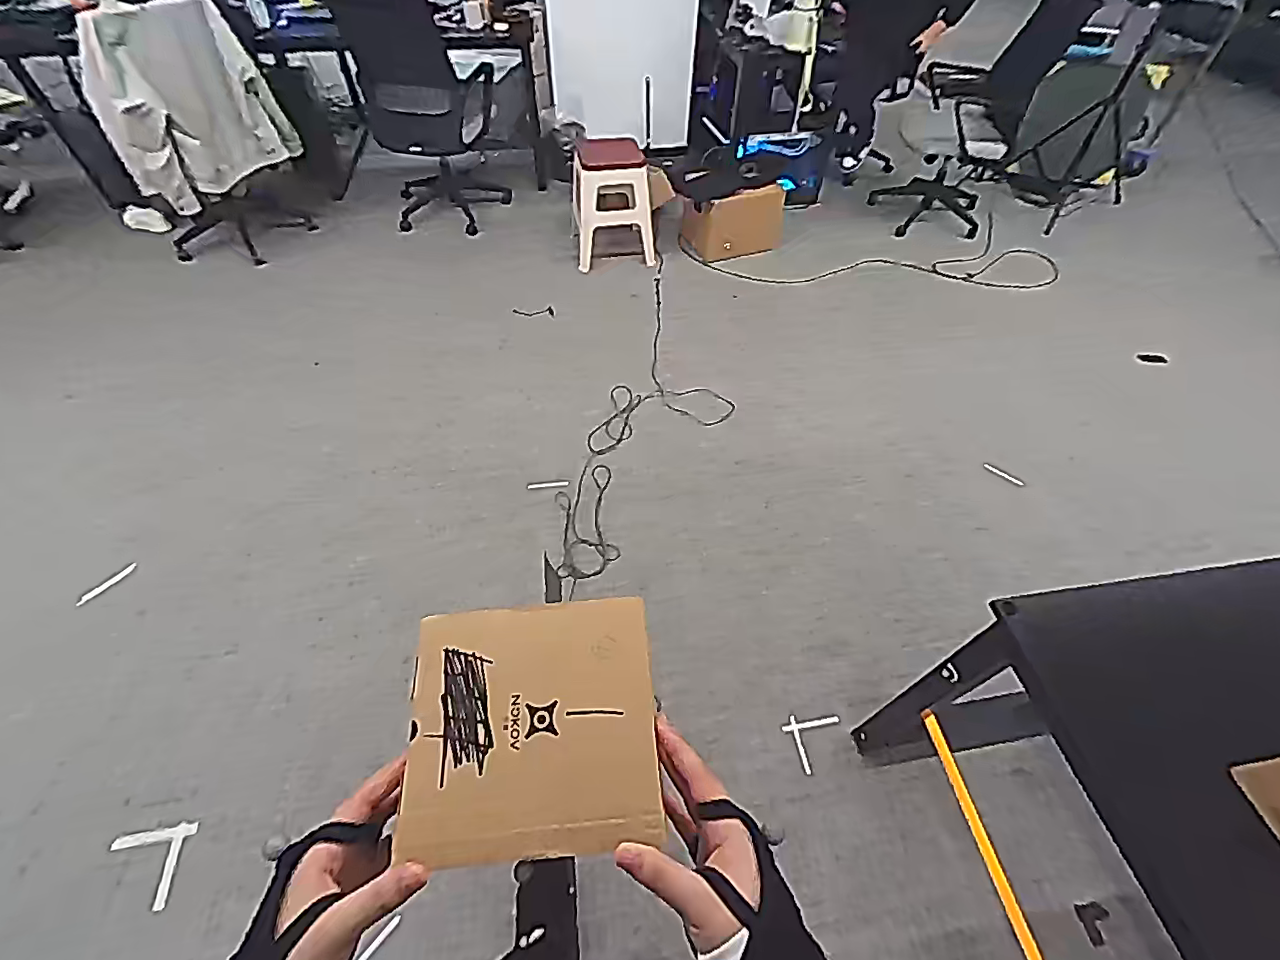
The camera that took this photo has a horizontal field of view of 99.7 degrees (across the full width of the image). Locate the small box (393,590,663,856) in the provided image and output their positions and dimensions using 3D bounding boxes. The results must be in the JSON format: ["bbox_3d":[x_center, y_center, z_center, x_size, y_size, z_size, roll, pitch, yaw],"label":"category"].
[{"bbox_3d":[-0.075,0.206,0.453,0.179,0.176,0.168,-6,59,-1],"label":"small box"}]

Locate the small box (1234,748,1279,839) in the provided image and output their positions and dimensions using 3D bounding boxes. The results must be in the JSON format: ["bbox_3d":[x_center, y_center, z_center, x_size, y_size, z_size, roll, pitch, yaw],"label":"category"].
[{"bbox_3d":[0.837,0.360,0.583,0.179,0.176,0.168,-9,51,-7],"label":"small box"}]
